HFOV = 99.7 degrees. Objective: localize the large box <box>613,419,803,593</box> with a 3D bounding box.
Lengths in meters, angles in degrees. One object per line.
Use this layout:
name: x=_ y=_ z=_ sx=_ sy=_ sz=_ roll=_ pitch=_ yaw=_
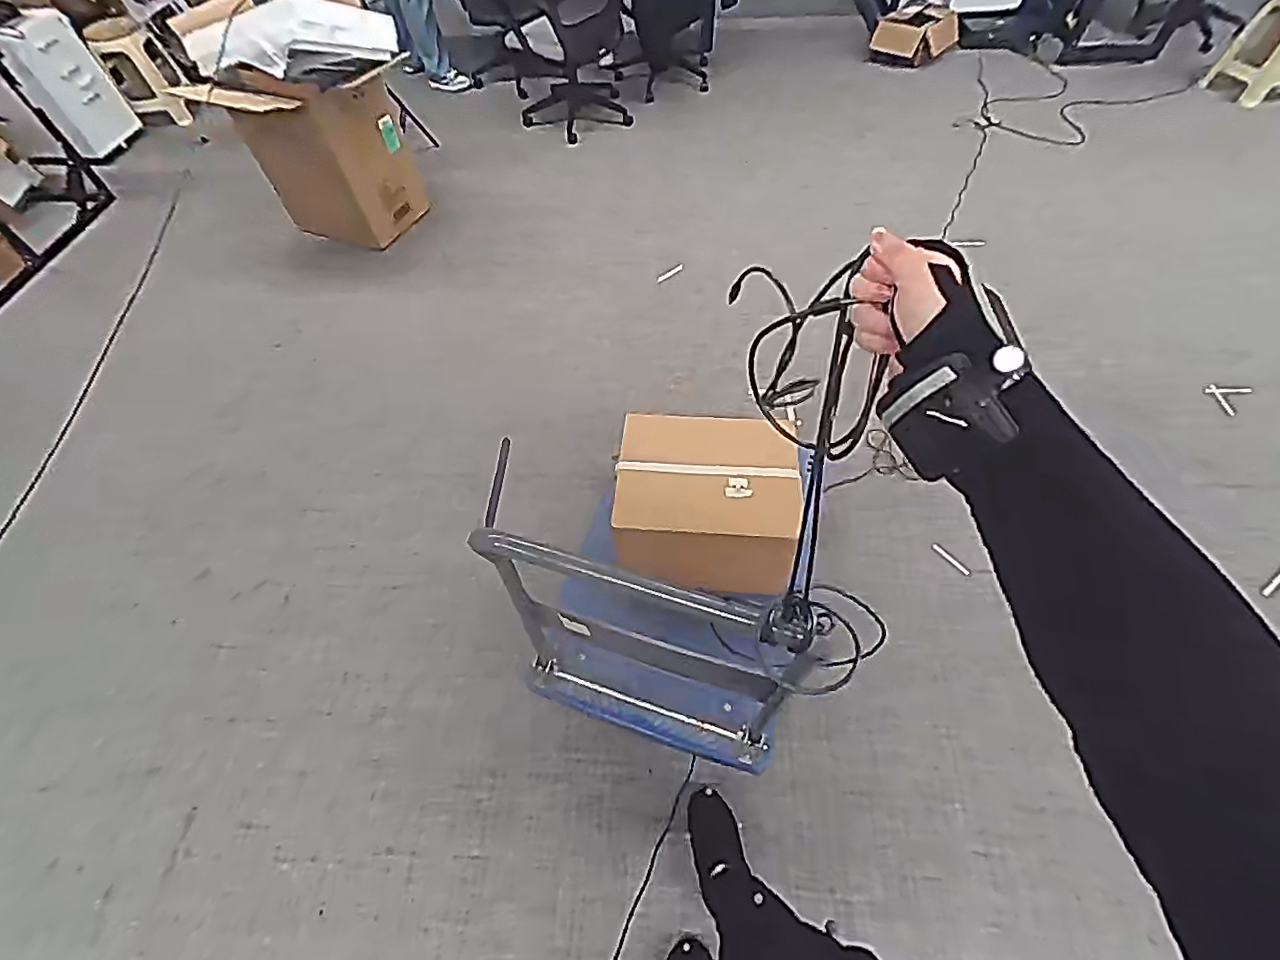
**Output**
large box: x=0.152 y=0.069 z=1.323 sx=0.408 sy=0.320 sz=0.320 roll=3 pitch=58 yaw=4
